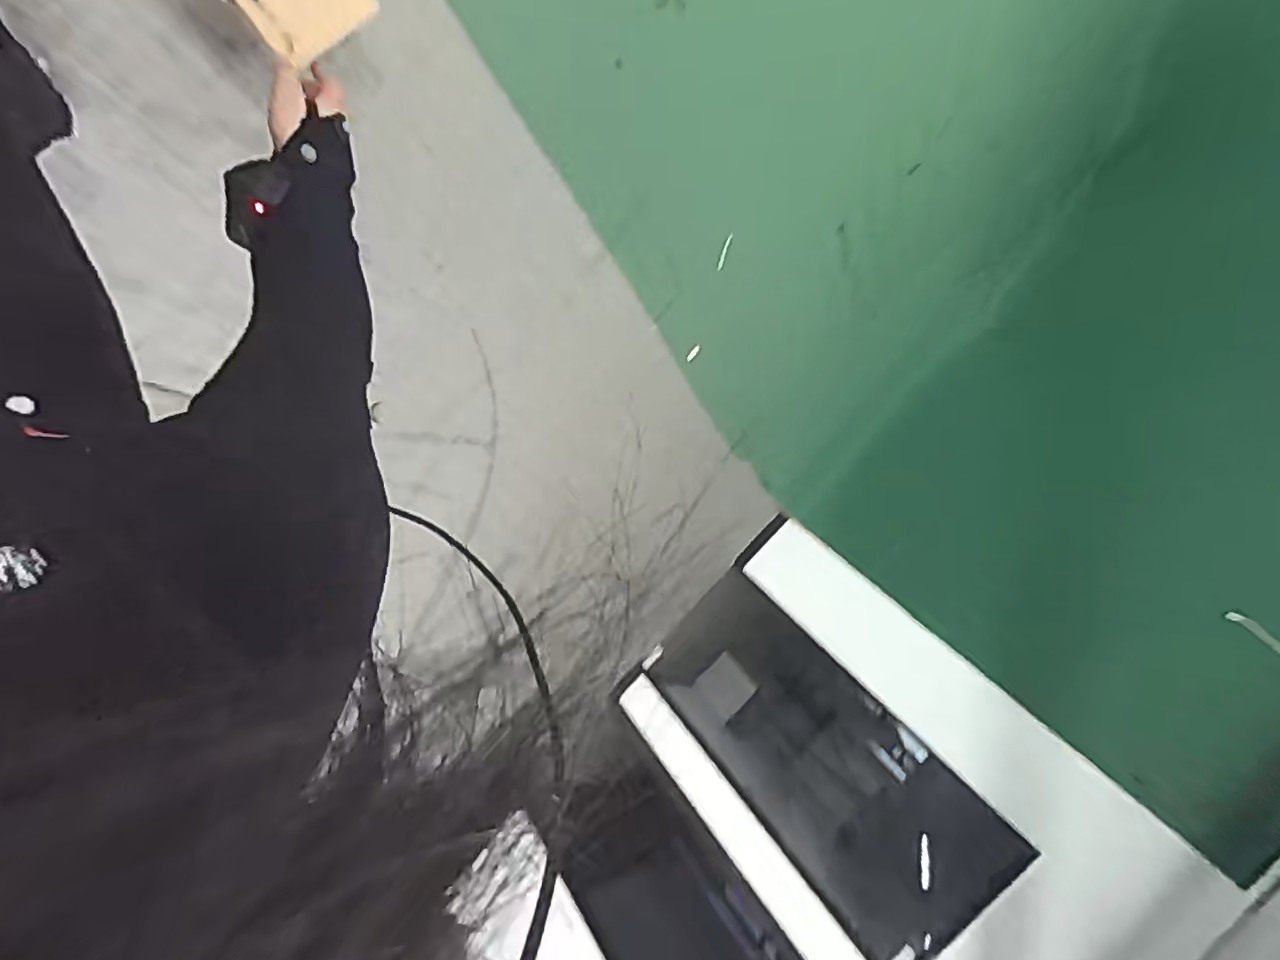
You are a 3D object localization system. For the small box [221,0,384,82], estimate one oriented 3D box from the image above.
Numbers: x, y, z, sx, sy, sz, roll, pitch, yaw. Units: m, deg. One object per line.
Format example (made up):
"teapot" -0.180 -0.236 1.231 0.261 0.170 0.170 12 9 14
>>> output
"small box" -0.535 -0.751 0.815 0.179 0.176 0.168 -41 147 -7
